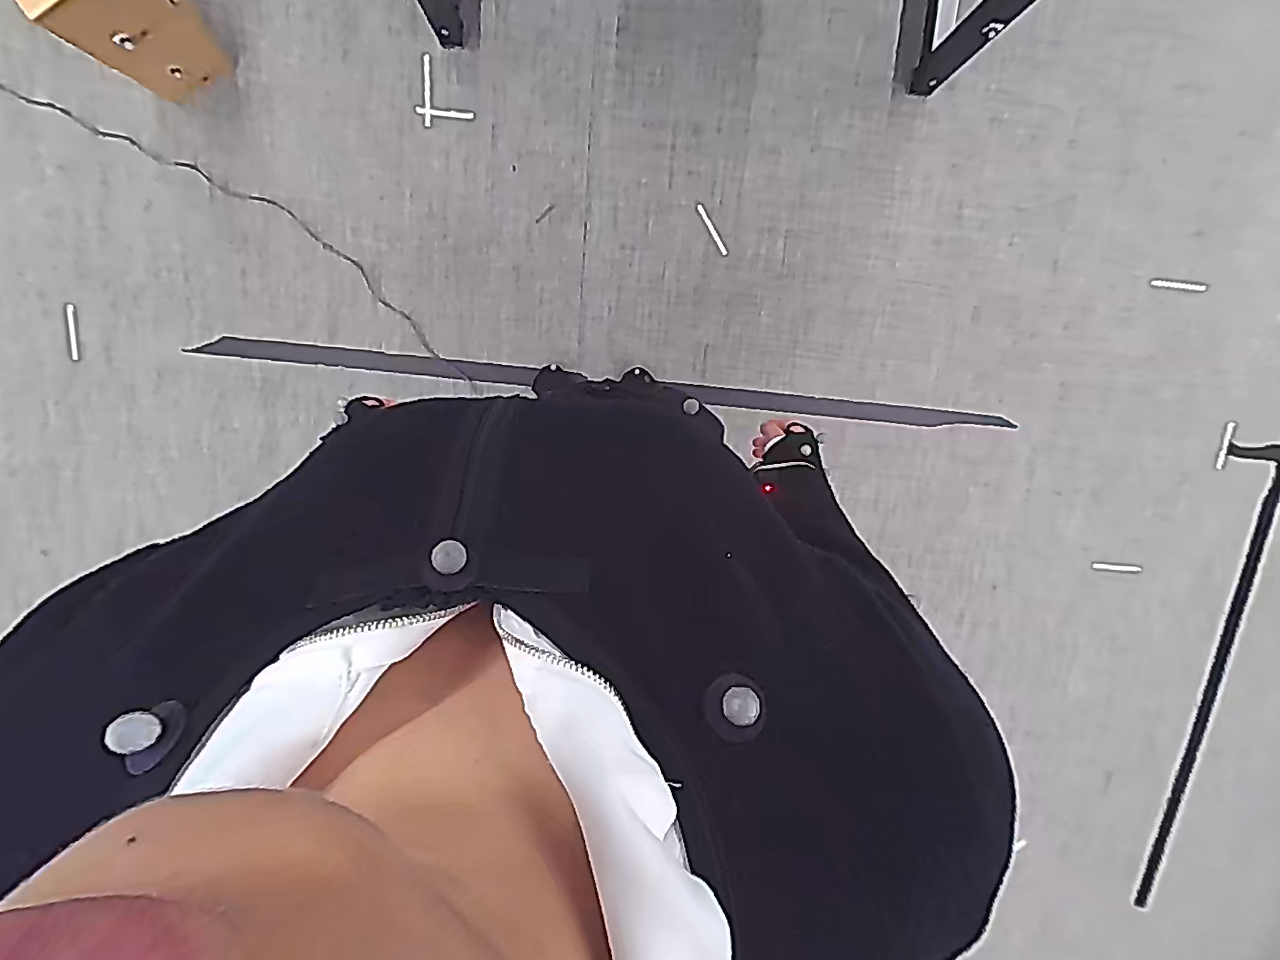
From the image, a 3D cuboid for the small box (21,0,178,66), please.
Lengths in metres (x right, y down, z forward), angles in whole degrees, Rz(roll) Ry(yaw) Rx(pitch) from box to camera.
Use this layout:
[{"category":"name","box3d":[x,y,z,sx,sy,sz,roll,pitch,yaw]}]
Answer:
[{"category":"small box","box3d":[-1.046,-0.942,1.014,0.168,0.176,0.179,-32,102,5]}]

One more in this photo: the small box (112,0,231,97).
[{"category":"small box","box3d":[-1.052,-0.977,1.173,0.168,0.176,0.179,-27,101,2]}]
